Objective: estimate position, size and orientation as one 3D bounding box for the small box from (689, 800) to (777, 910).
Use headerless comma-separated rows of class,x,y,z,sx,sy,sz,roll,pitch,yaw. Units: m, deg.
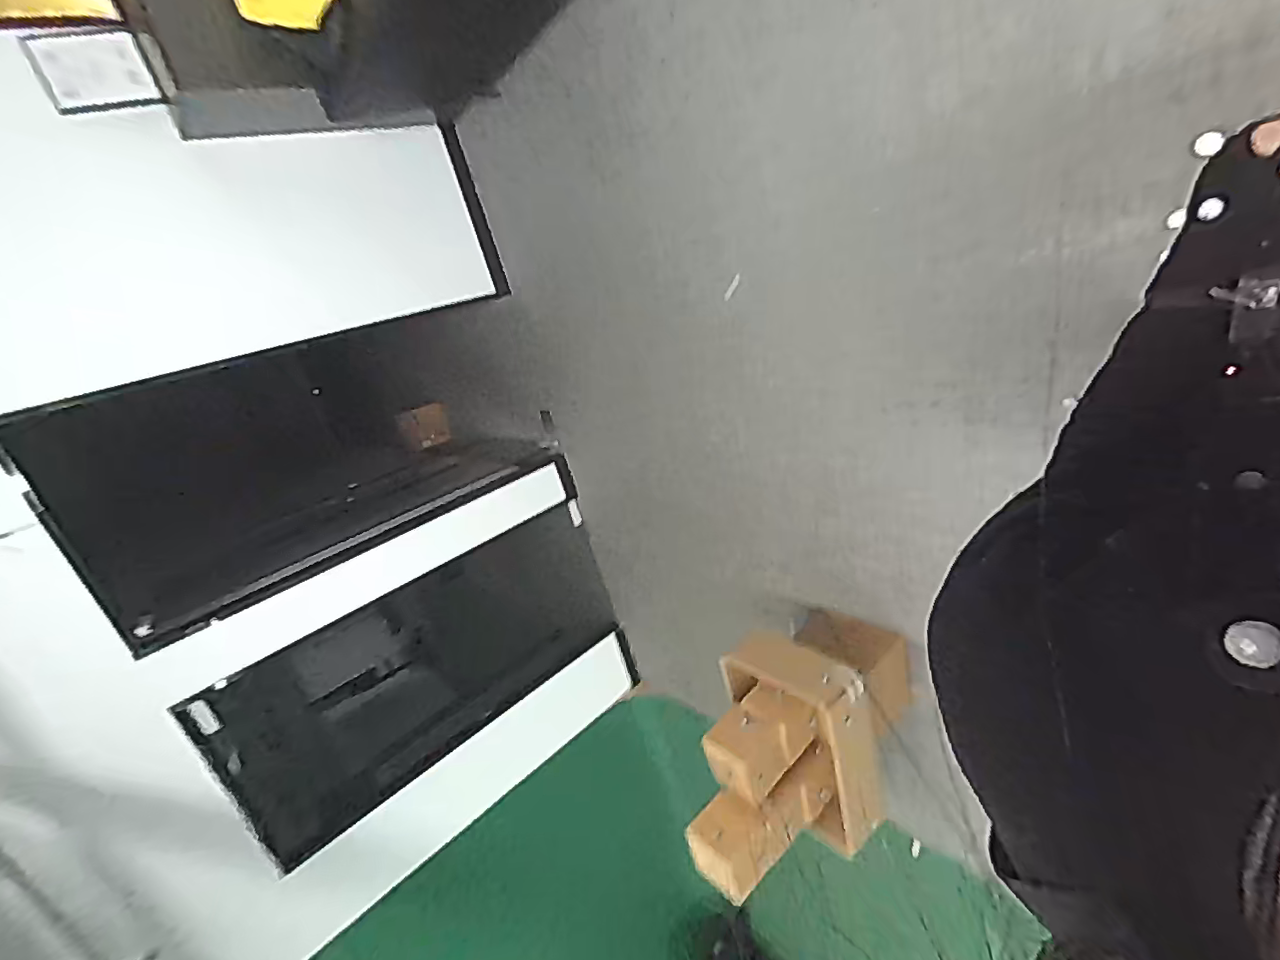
small box,0.275,1.088,1.593,0.179,0.176,0.168,8,118,51
